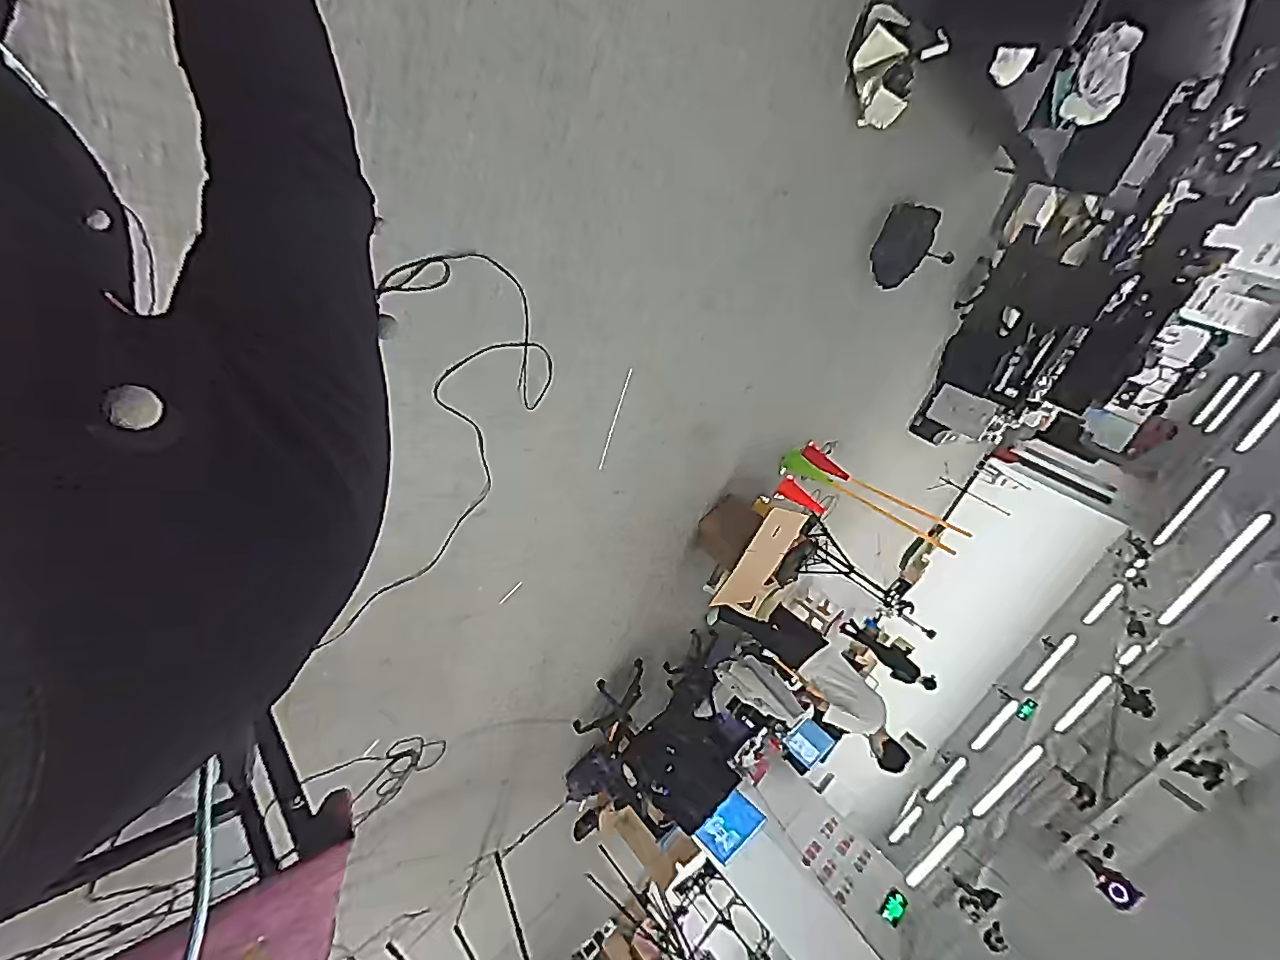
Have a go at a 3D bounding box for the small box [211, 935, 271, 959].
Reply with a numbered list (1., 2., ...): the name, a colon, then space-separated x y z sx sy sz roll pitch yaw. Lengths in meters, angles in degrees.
1. small box: -0.920 1.180 1.204 0.168 0.176 0.179 -4 124 -49
